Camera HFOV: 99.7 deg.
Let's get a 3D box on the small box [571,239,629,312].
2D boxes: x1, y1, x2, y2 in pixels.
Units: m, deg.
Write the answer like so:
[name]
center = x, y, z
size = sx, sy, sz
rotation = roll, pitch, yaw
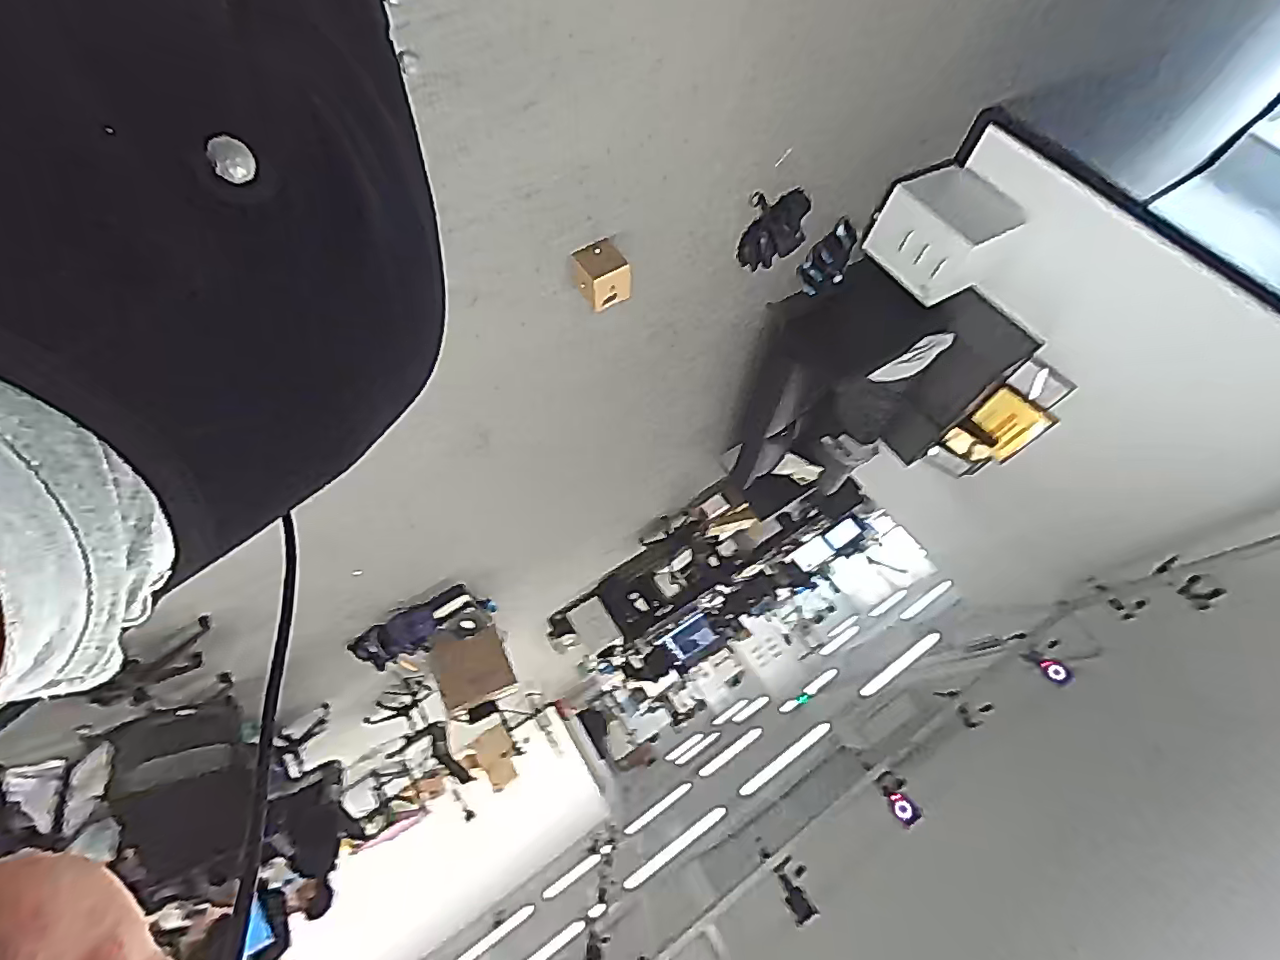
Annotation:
[small box]
center = -0.158, -0.807, 2.128
size = 0.168, 0.176, 0.179
rotation = -31, 159, -14
